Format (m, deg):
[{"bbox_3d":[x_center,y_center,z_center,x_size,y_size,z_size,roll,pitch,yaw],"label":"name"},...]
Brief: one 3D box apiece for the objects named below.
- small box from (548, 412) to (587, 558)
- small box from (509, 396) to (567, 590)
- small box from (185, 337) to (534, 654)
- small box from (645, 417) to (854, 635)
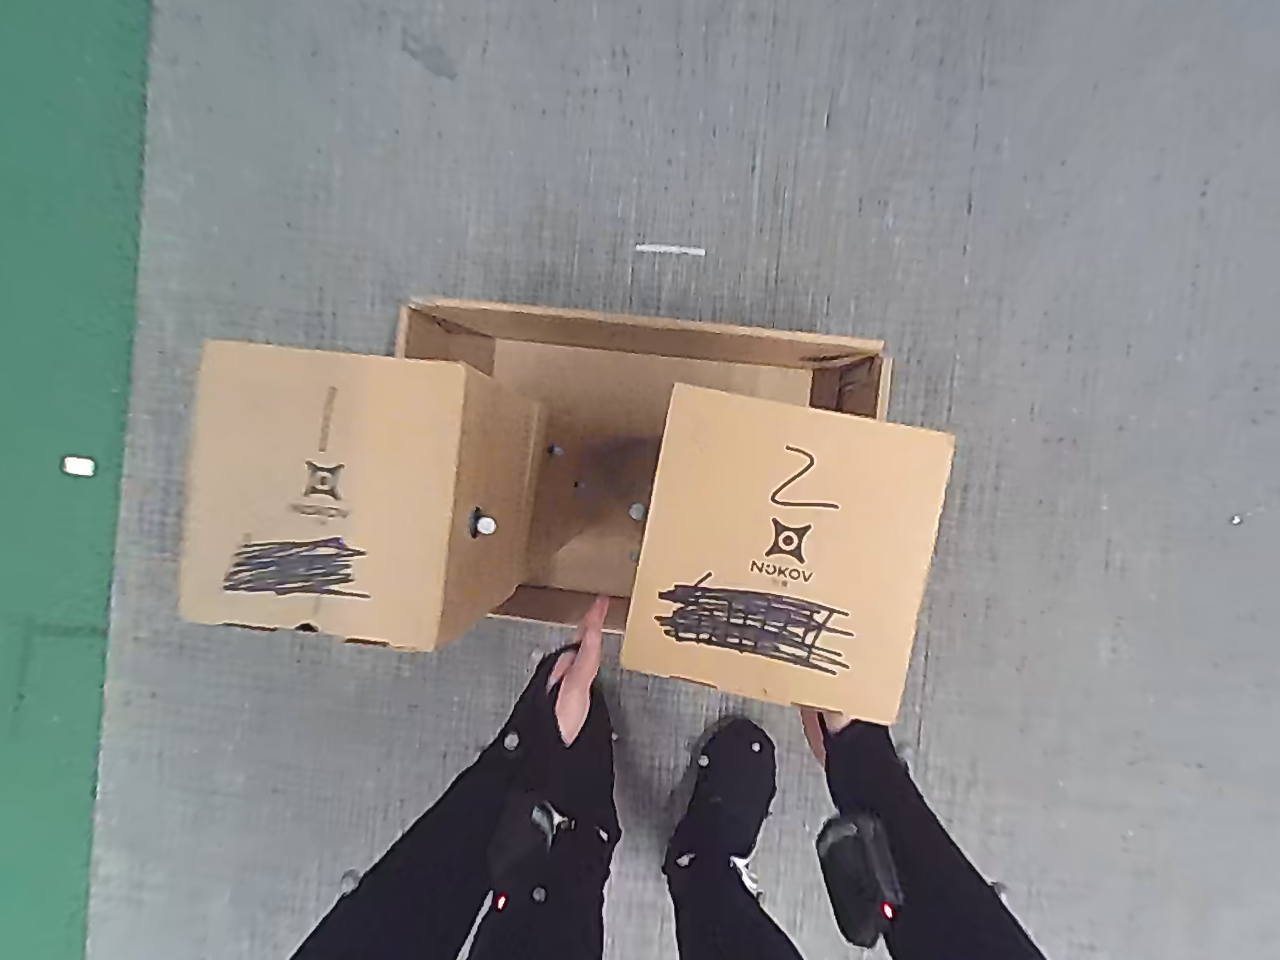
[{"bbox_3d":[-0.170,-0.004,0.730,0.168,0.176,0.179,9,91,2],"label":"small box"},{"bbox_3d":[-0.176,0.002,0.568,0.168,0.176,0.179,9,91,1],"label":"small box"},{"bbox_3d":[-0.183,0.008,0.404,0.168,0.176,0.179,7,91,2],"label":"small box"},{"bbox_3d":[0.099,0.038,0.558,0.168,0.176,0.179,8,93,2],"label":"small box"}]
